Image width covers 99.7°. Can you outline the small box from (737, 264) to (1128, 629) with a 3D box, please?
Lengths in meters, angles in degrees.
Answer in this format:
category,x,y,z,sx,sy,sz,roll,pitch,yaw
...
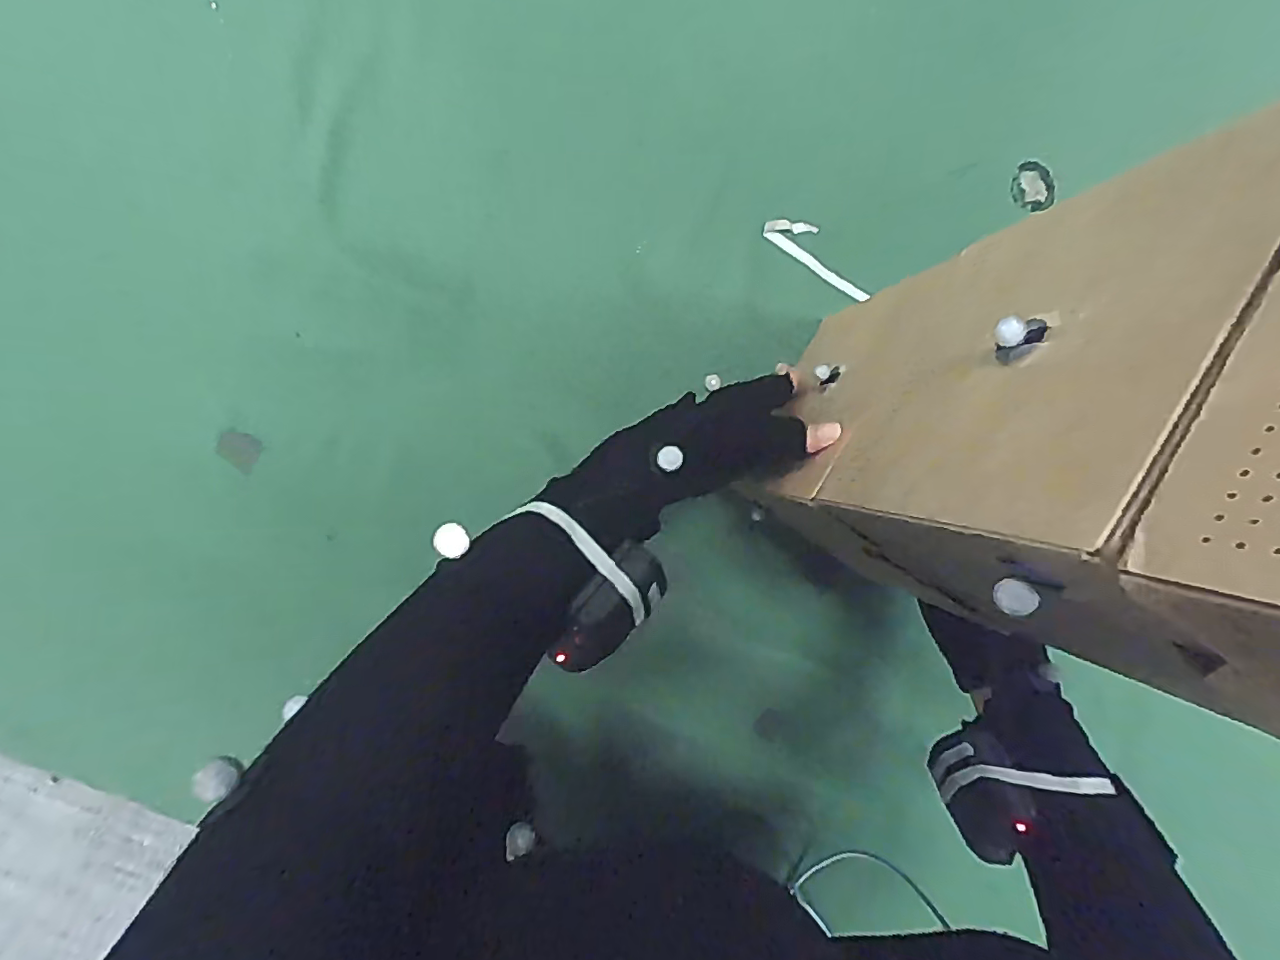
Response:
category,x,y,z,sx,sy,sz,roll,pitch,yaw
small box,0.195,-0.021,0.417,0.168,0.176,0.179,32,87,-10
